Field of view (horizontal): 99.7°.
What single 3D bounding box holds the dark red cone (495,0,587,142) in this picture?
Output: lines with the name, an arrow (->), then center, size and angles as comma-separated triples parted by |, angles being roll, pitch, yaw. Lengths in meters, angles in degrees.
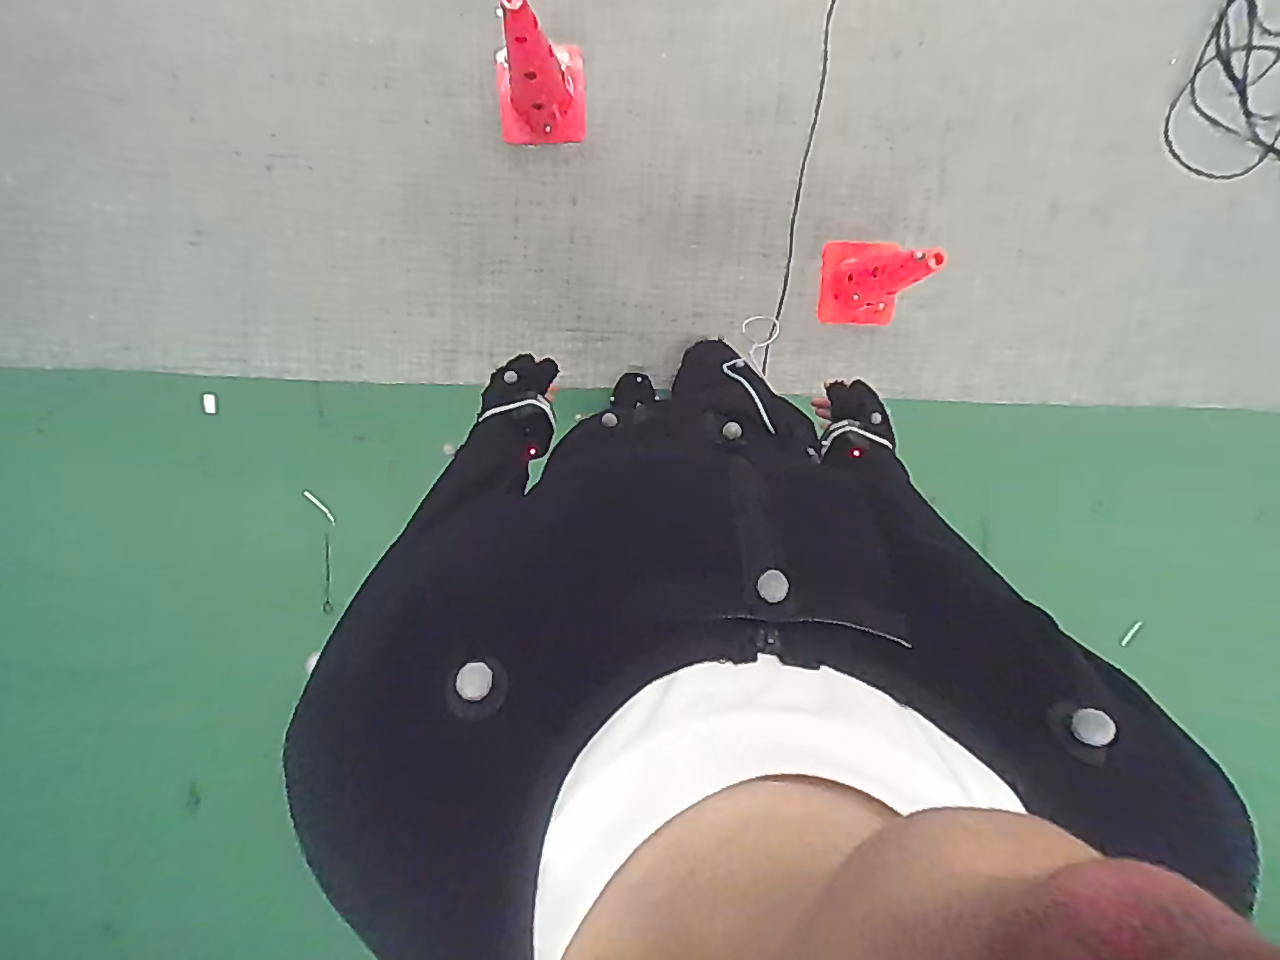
dark red cone -> -0.220, -0.854, 1.084 | 0.202, 0.394, 0.201 | -4, 104, -1

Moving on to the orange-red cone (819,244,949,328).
orange-red cone -> 0.571, -0.462, 1.219 | 0.198, 0.360, 0.199 | 2, 101, -3
